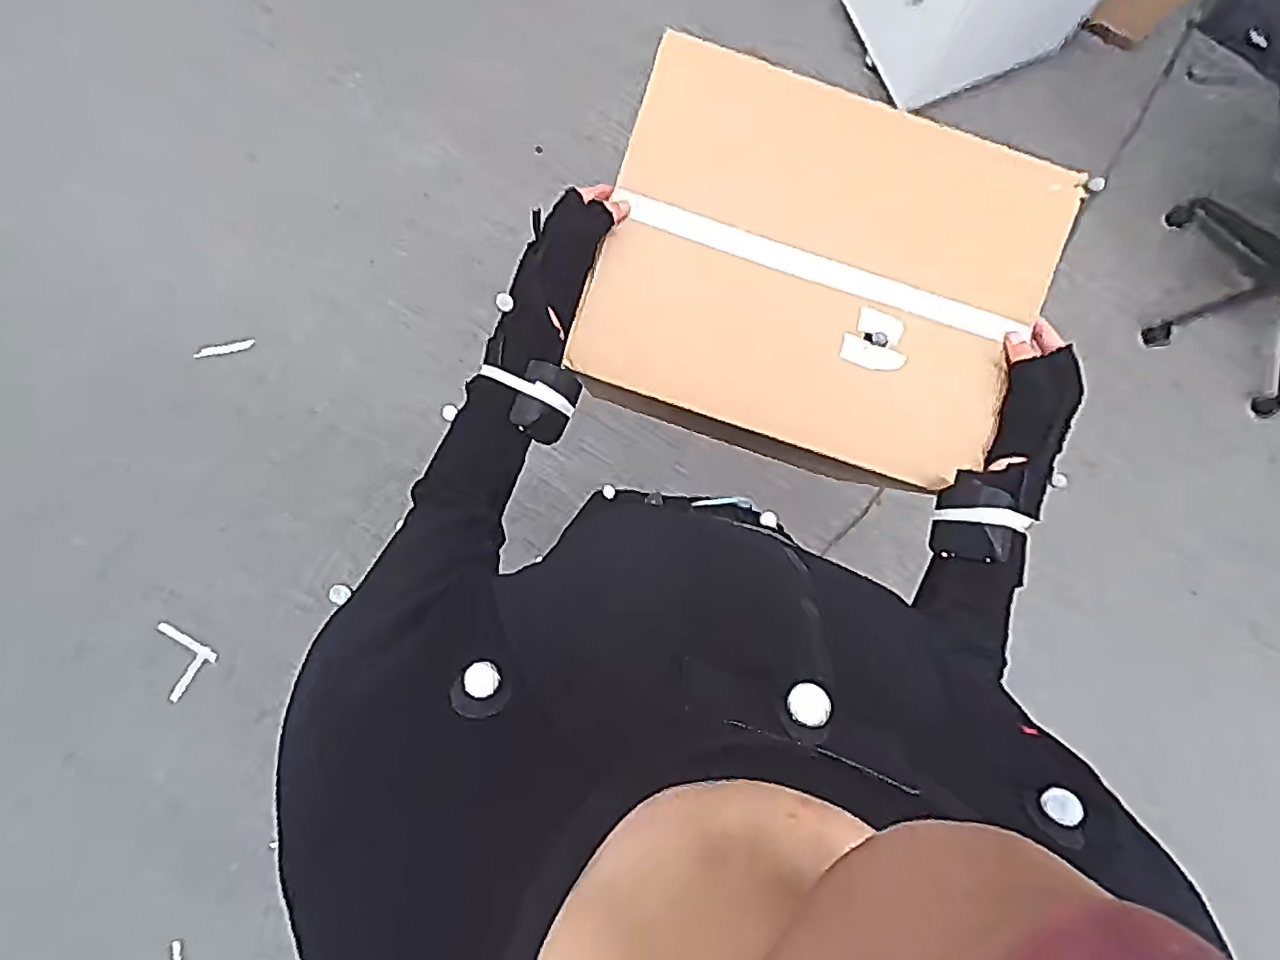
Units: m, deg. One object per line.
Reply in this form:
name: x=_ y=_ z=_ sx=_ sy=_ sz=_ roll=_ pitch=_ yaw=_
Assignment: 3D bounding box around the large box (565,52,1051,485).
large box: x=0.153 y=-0.204 z=0.660 sx=0.408 sy=0.320 sz=0.320 roll=18 pitch=94 yaw=-3
